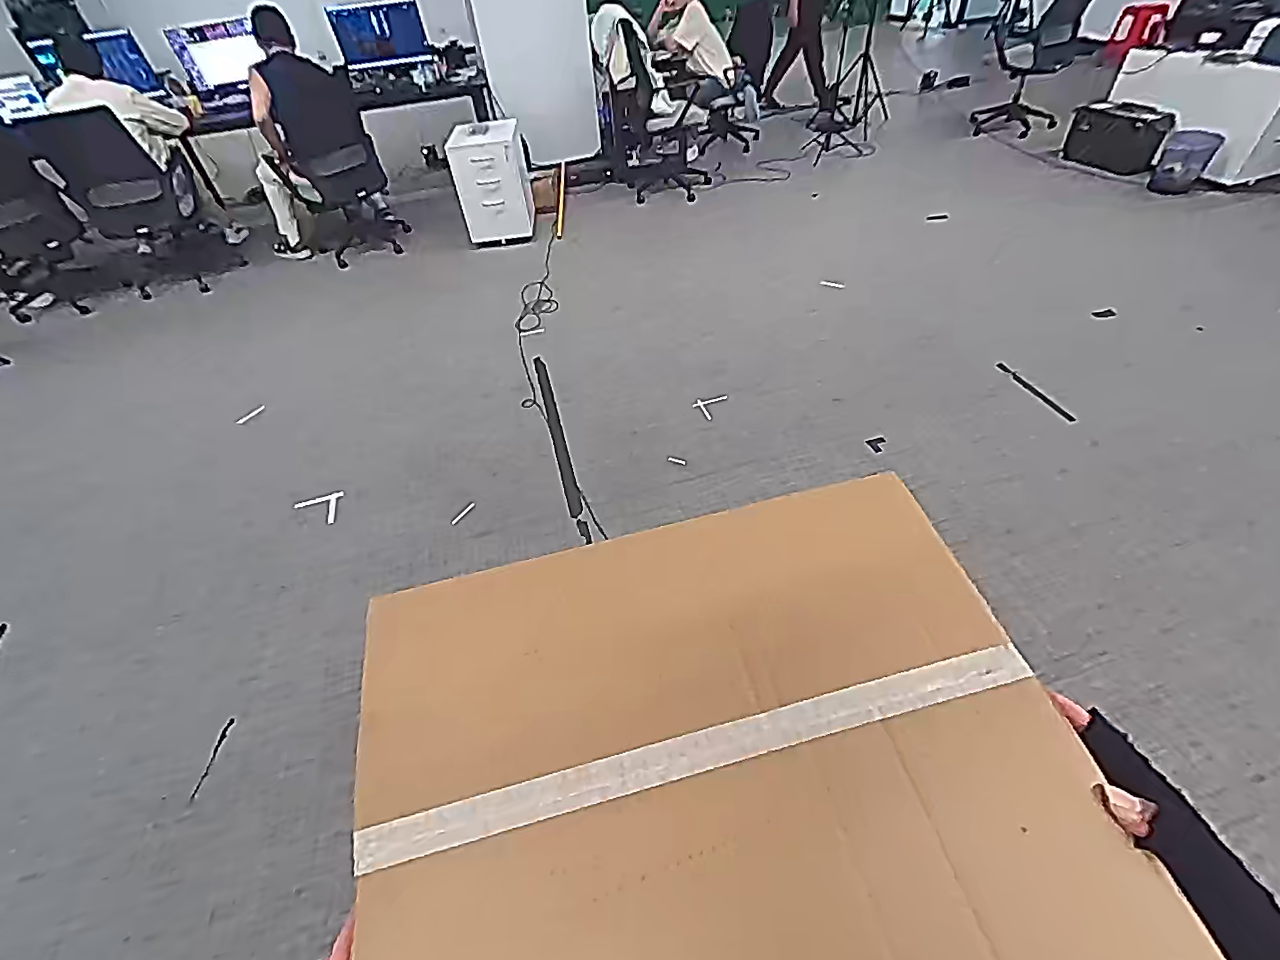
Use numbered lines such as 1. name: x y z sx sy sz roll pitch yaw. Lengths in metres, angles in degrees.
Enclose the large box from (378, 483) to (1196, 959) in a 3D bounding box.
1. large box: 0.052 0.255 0.447 0.408 0.320 0.320 -14 54 -5
